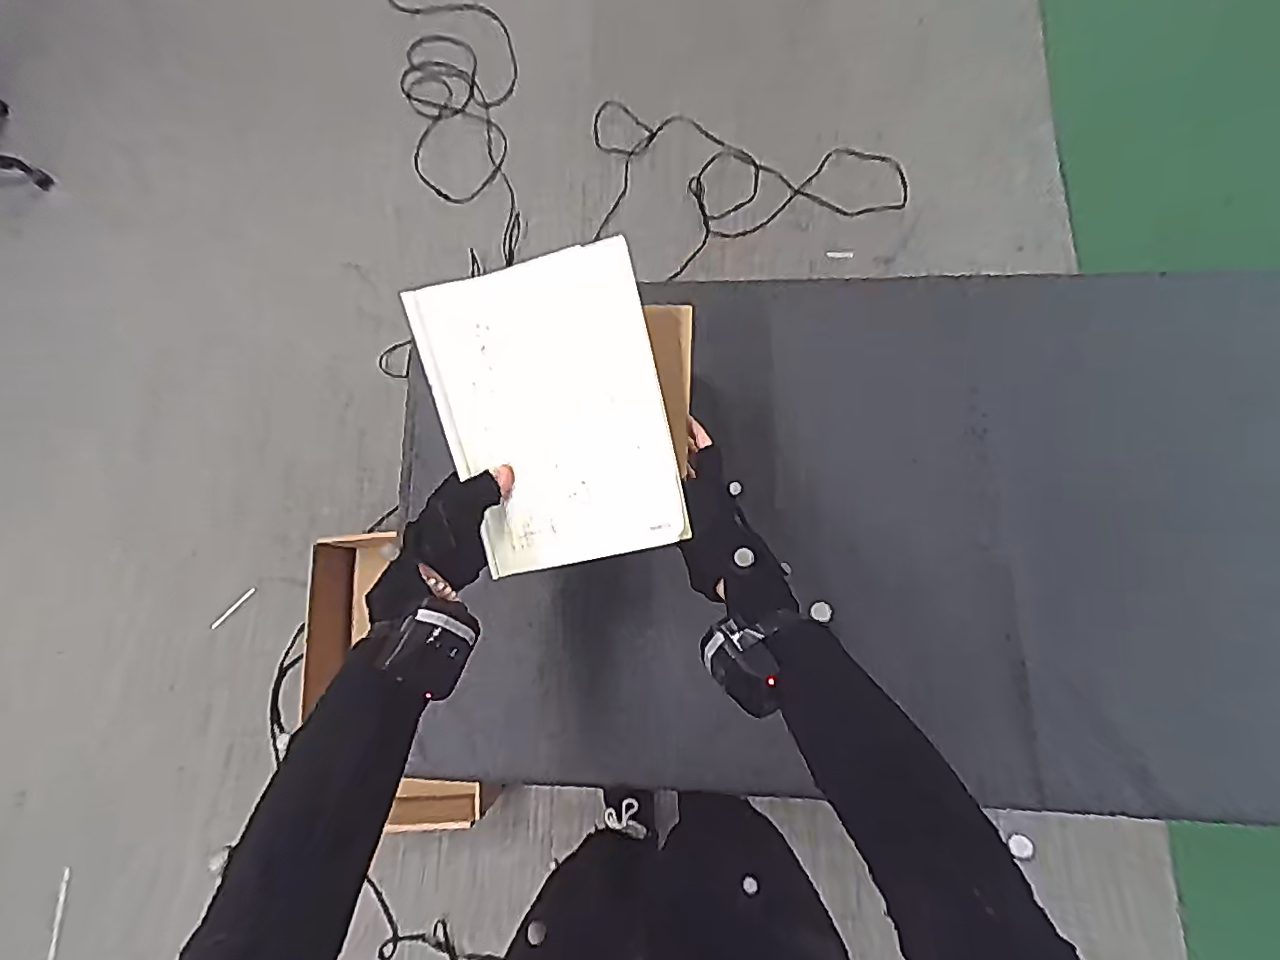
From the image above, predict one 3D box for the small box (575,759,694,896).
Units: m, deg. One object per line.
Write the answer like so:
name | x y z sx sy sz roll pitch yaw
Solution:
small box | -0.017 0.739 1.170 0.179 0.176 0.168 27 87 33
